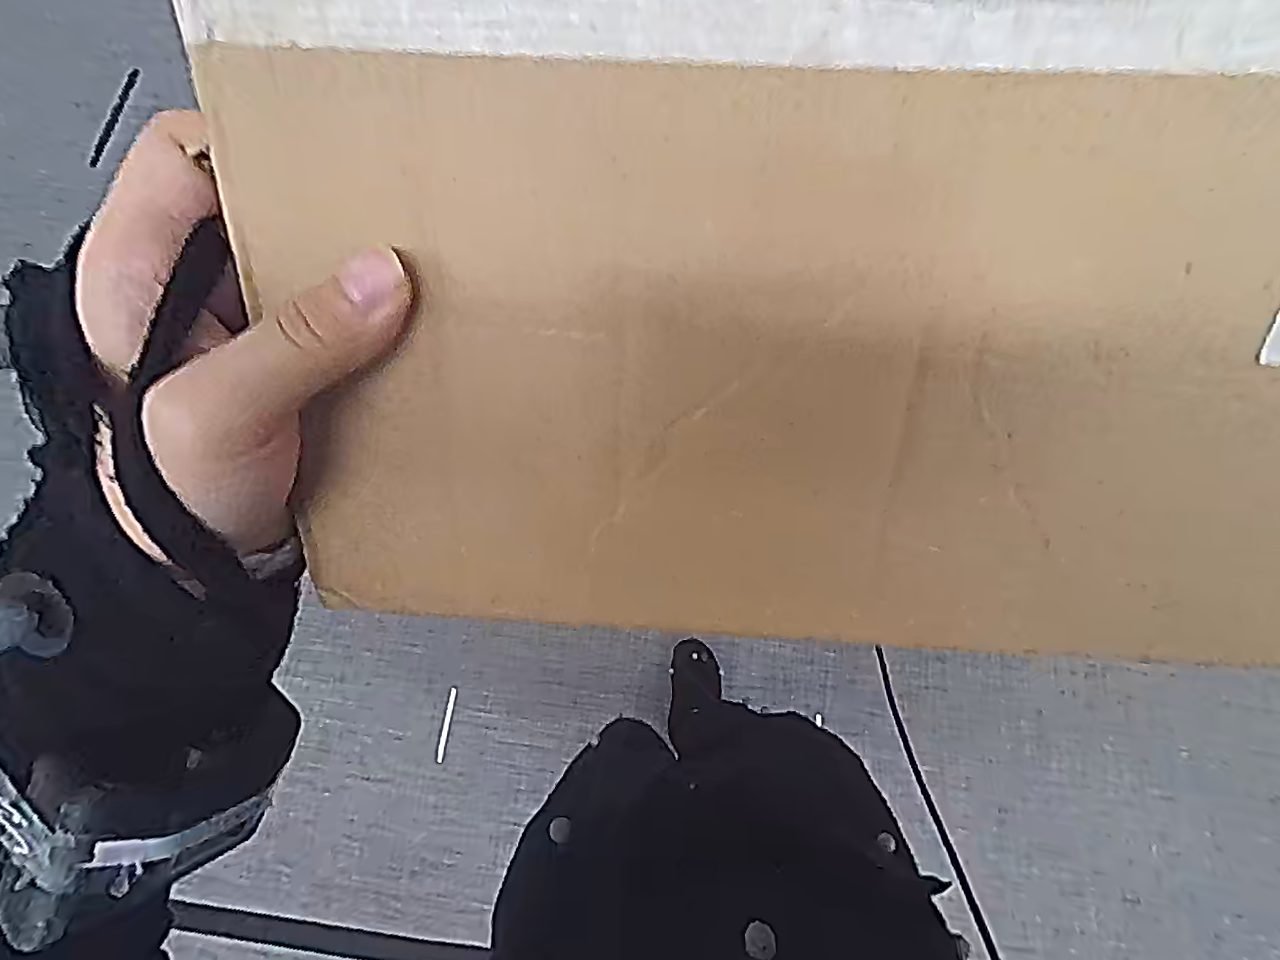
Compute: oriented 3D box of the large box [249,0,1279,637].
[{"bbox_3d":[0.112,-0.150,0.257,0.408,0.320,0.320,2,113,1],"label":"large box"}]
